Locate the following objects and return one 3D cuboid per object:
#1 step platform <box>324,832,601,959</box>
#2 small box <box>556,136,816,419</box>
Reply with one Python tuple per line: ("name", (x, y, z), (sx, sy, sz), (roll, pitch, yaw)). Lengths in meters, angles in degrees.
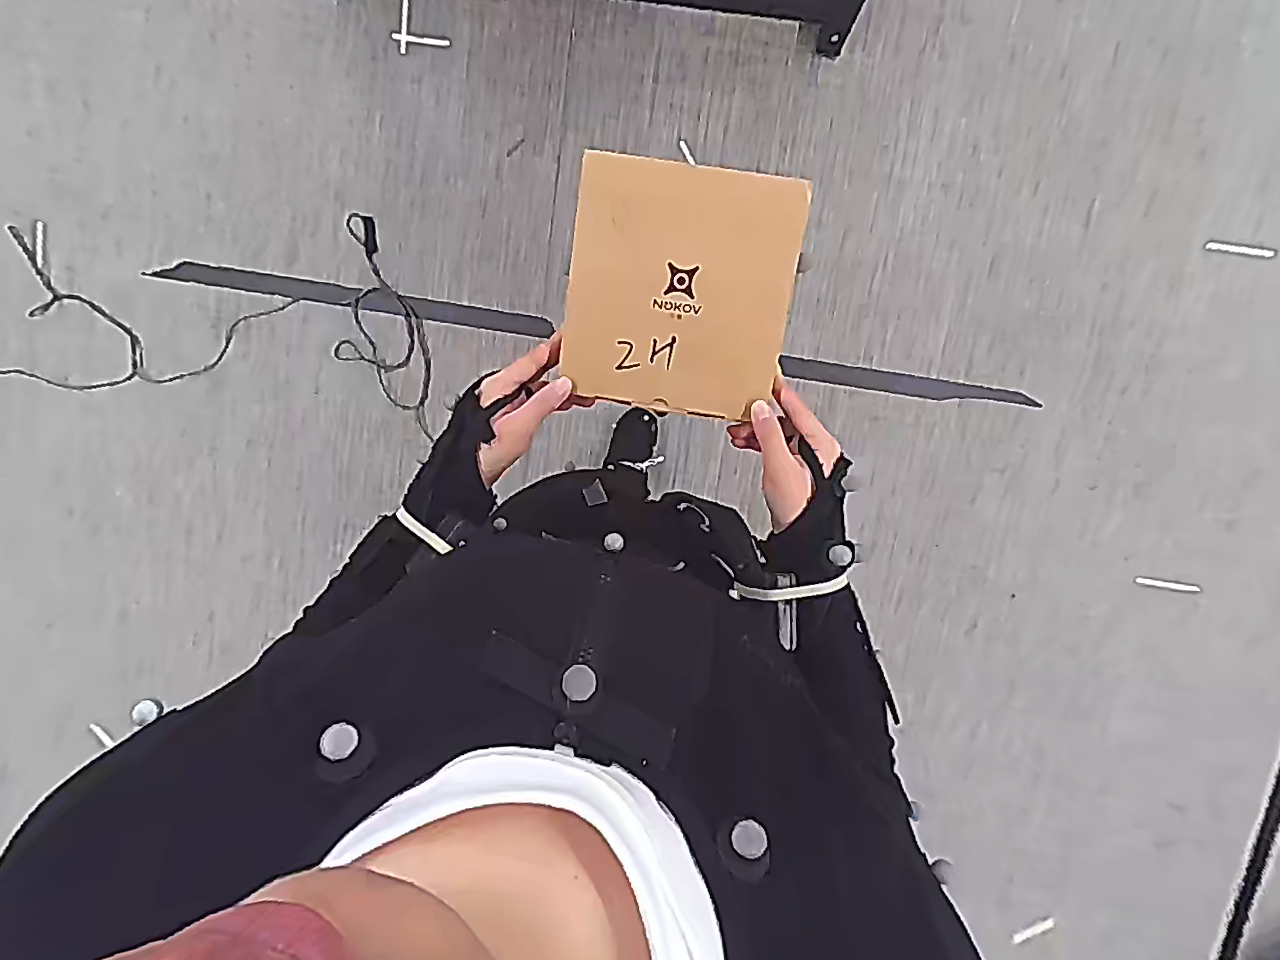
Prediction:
("step platform", (-0.453, 1.168, 1.418), (0.684, 0.204, 0.286), (8, 97, 0))
("small box", (0.035, -0.159, 0.472), (0.168, 0.176, 0.179), (10, 102, 3))
